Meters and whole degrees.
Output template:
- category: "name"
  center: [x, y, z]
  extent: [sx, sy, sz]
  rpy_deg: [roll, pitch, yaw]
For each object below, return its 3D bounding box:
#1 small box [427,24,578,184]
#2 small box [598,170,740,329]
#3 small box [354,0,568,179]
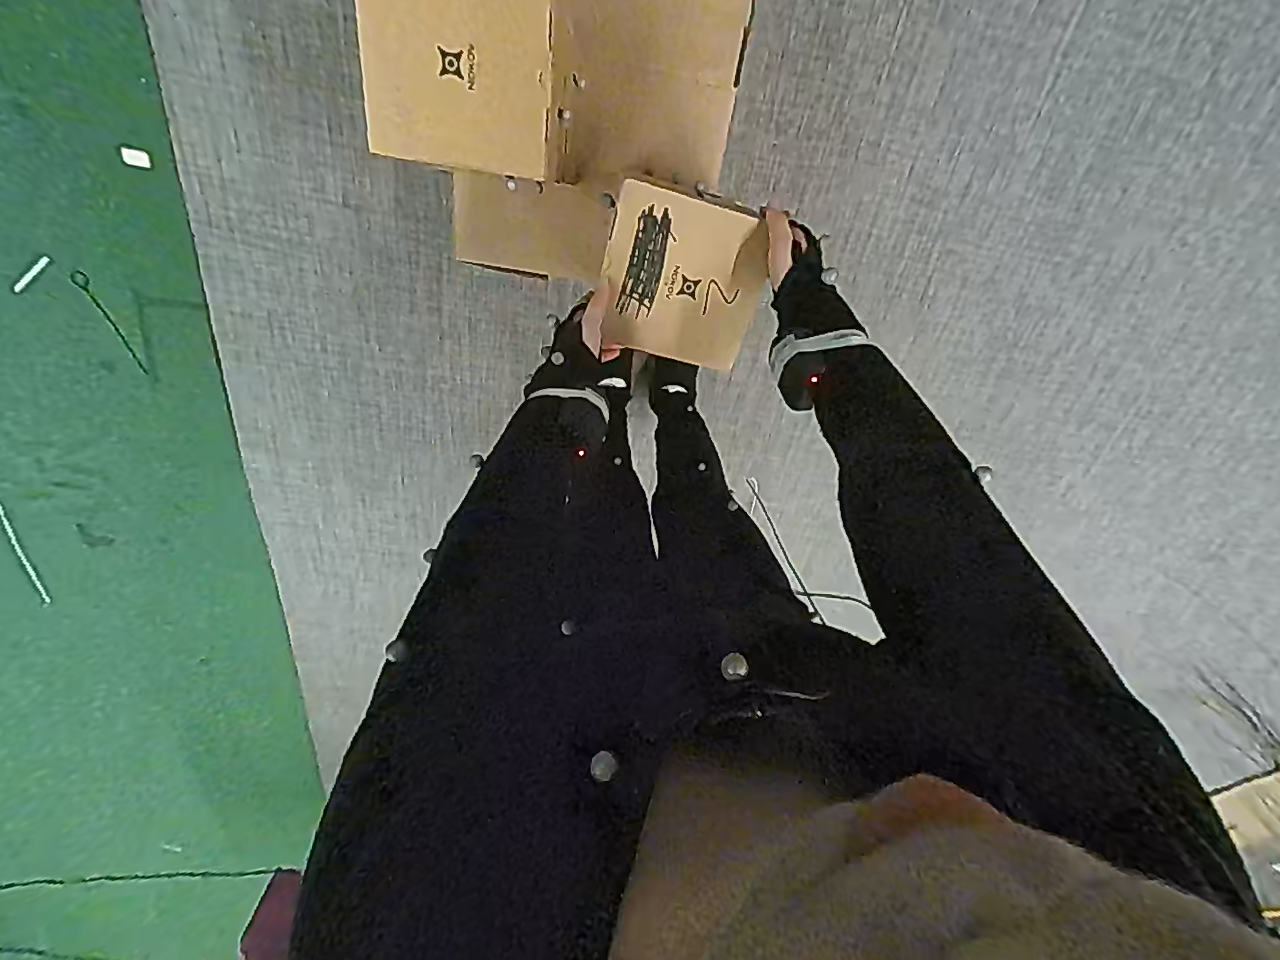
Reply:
- category: "small box"
  center: [-0.177, -0.499, 0.720]
  extent: [0.179, 0.176, 0.168]
  rpy_deg: [5, 117, -5]
- category: "small box"
  center: [0.031, -0.348, 0.813]
  extent: [0.168, 0.176, 0.179]
  rpy_deg: [10, 118, -9]
- category: "small box"
  center: [-0.176, -0.425, 0.575]
  extent: [0.179, 0.176, 0.168]
  rpy_deg: [5, 117, -6]
